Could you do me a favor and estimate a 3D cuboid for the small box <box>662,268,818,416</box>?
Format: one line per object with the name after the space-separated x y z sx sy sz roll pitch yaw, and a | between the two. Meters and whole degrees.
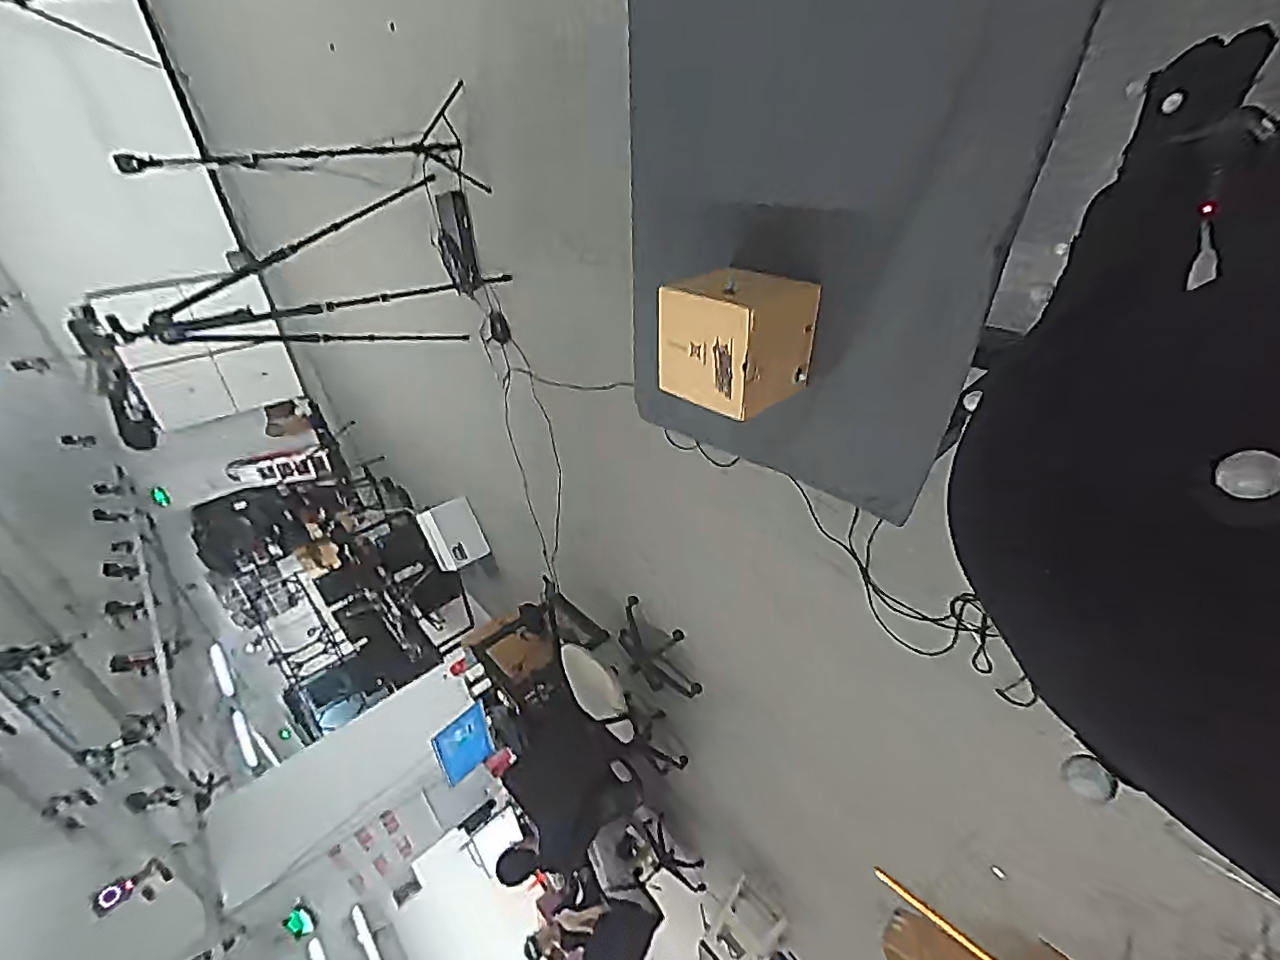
0.153 -0.224 0.845 0.179 0.176 0.168 30 135 39 | small box
